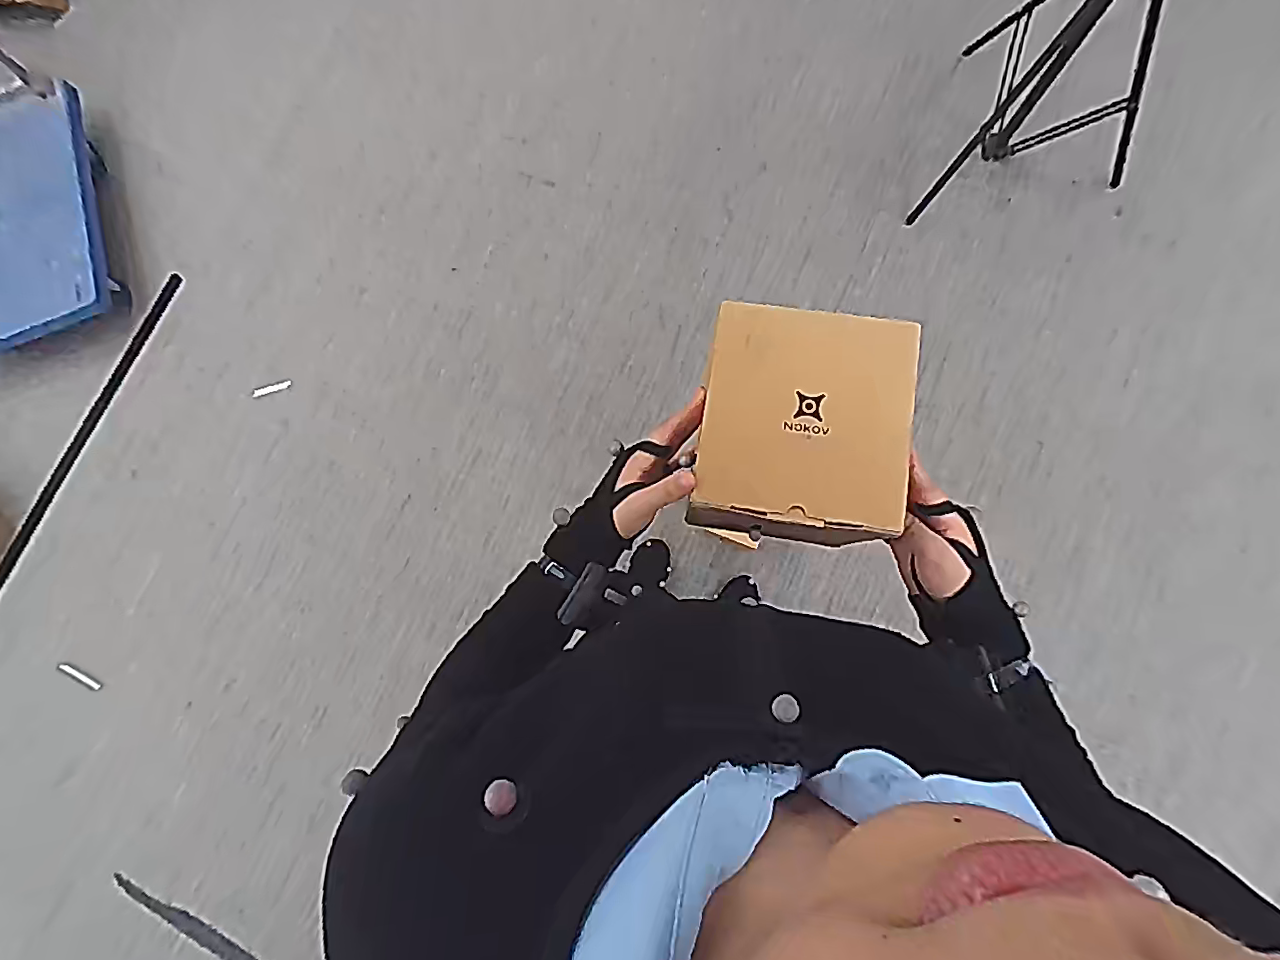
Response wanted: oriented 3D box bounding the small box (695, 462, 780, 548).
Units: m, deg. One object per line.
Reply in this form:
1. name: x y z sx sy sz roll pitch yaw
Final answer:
1. small box: 0.253 0.073 1.431 0.168 0.176 0.179 21 83 8
